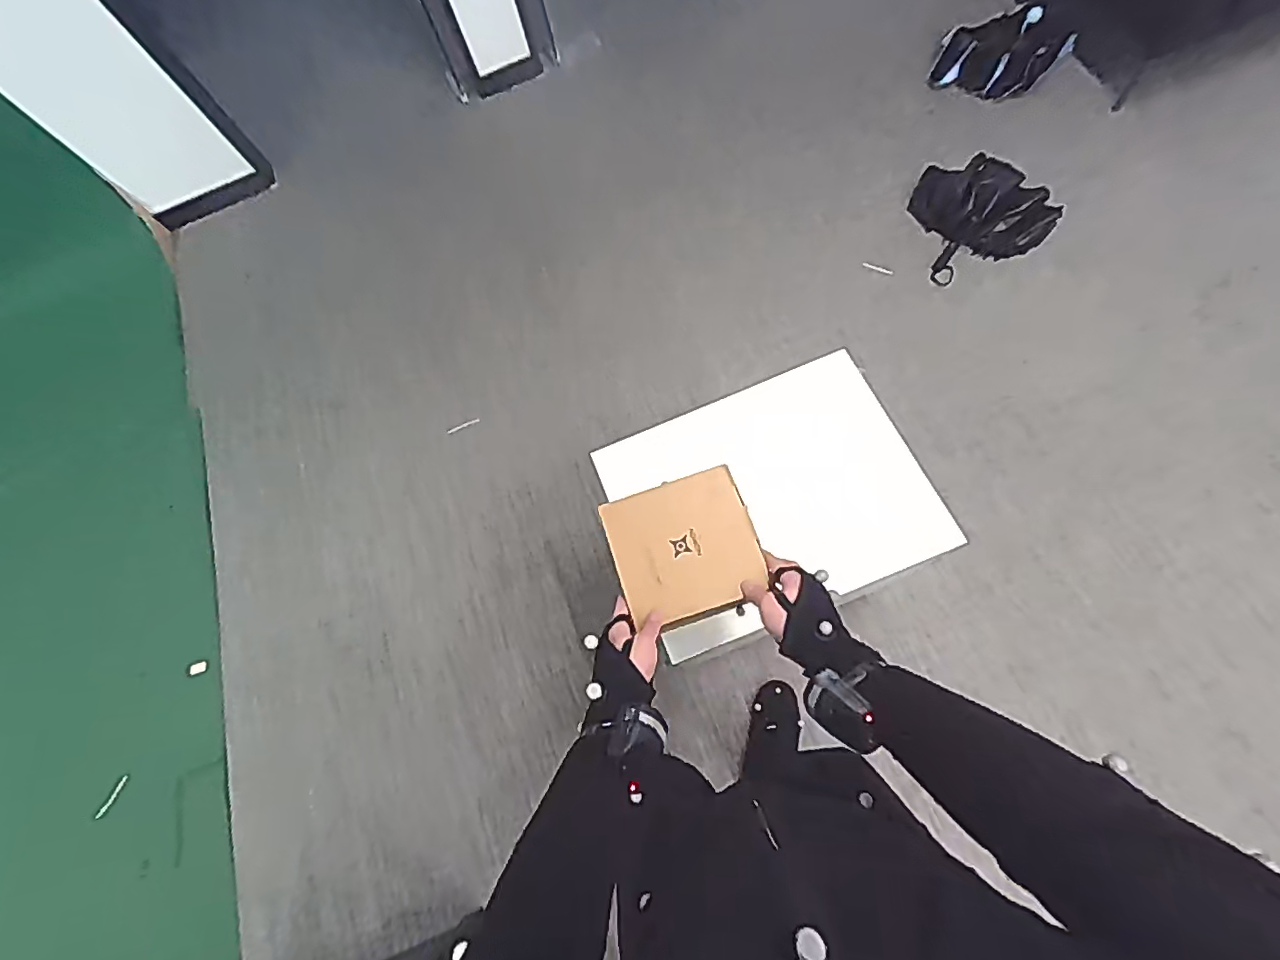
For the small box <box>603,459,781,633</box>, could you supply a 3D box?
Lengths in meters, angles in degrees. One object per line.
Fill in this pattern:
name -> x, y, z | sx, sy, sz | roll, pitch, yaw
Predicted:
small box -> 0.065, 0.096, 0.720 | 0.179, 0.176, 0.168 | -19, 71, 0
